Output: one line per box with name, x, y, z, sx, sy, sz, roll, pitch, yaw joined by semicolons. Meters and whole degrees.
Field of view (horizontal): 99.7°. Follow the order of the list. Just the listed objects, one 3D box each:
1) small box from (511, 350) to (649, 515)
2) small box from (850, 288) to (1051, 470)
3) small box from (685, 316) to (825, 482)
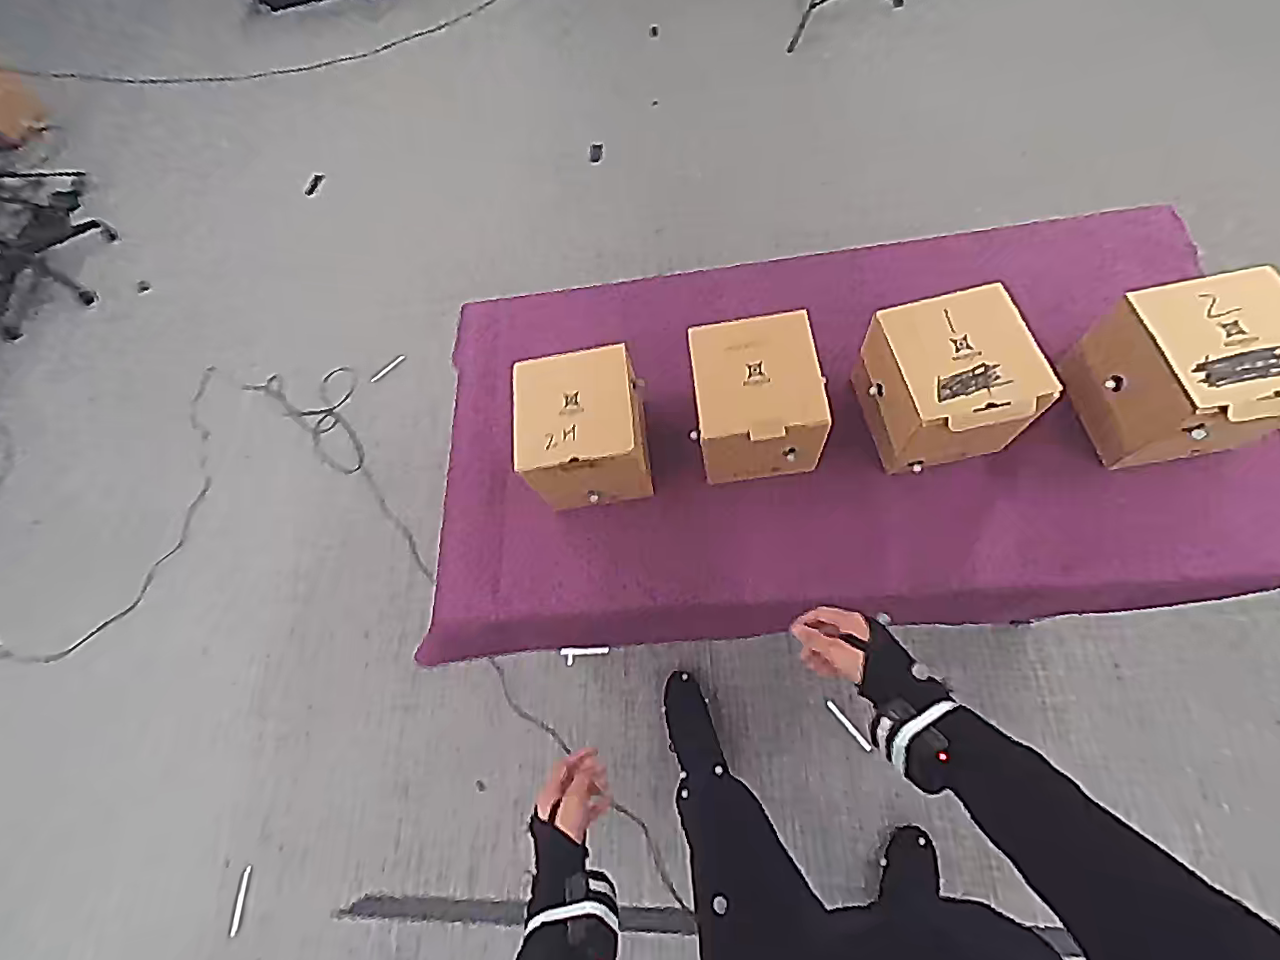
small box;-0.085;-0.064;0.813;0.168;0.176;0.179;-9;67;7
small box;0.411;-0.127;0.753;0.168;0.176;0.179;-13;66;5
small box;0.161;-0.105;0.789;0.168;0.176;0.179;-7;67;7
